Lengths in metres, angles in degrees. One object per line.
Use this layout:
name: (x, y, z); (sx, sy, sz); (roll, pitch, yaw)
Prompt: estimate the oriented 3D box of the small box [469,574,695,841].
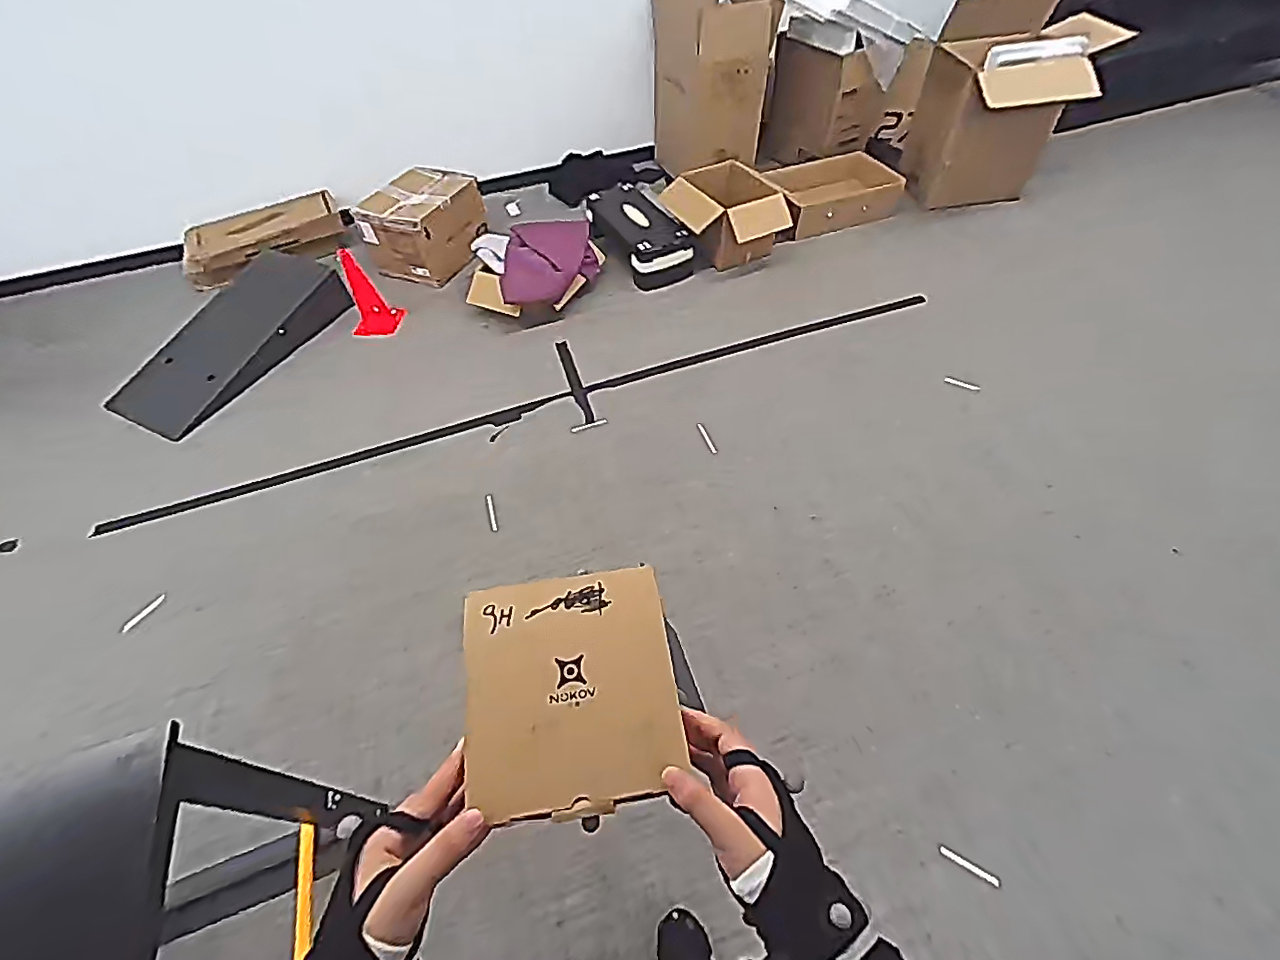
small box: (-0.052, 0.204, 0.494); (0.168, 0.176, 0.179); (-7, 61, -6)
